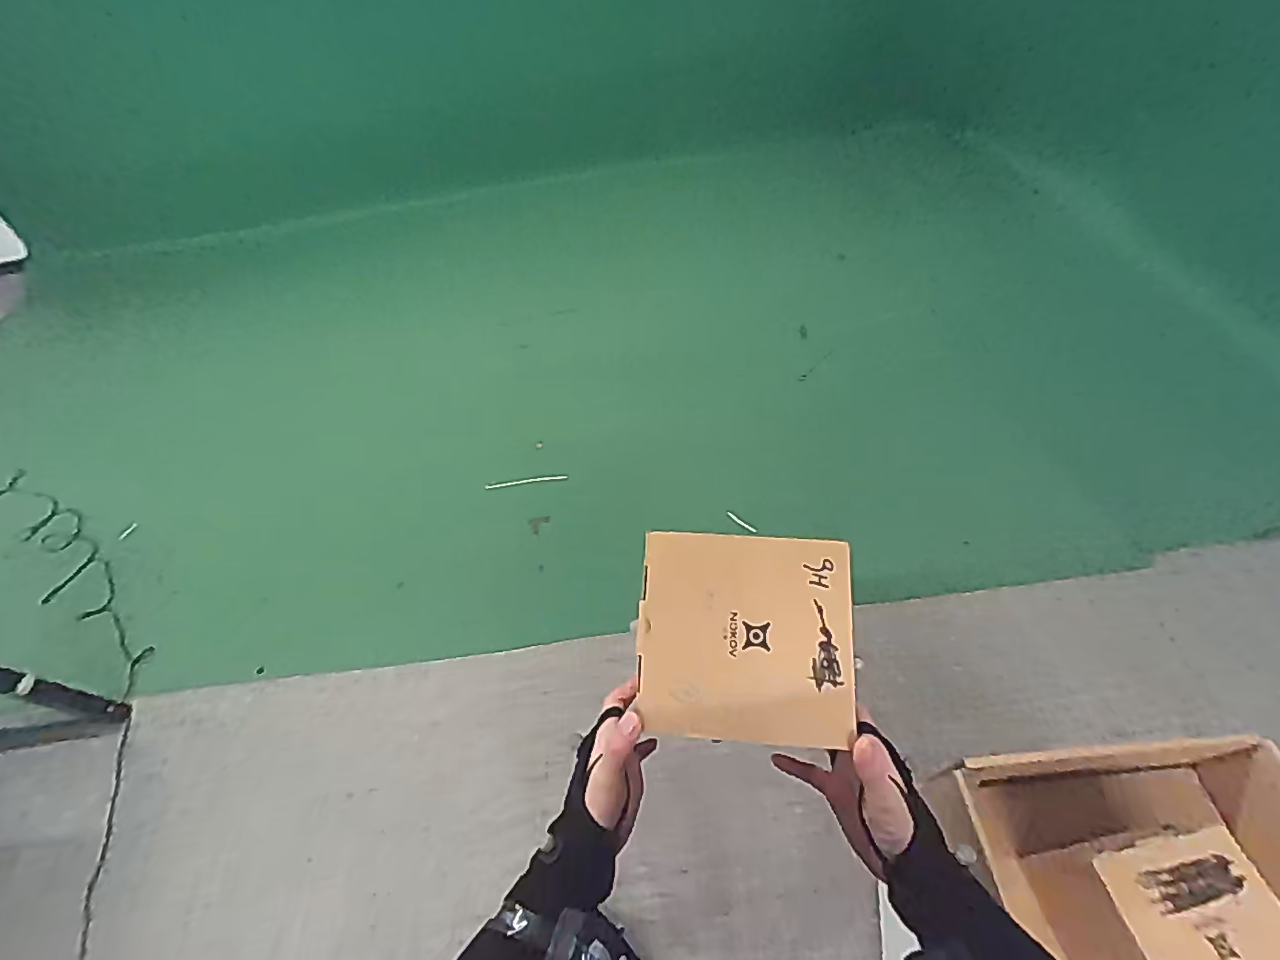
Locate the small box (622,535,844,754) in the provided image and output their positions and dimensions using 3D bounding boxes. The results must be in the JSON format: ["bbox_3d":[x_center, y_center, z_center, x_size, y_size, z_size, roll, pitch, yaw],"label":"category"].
[{"bbox_3d":[0.085,0.153,0.522,0.179,0.176,0.168,2,74,5],"label":"small box"}]
